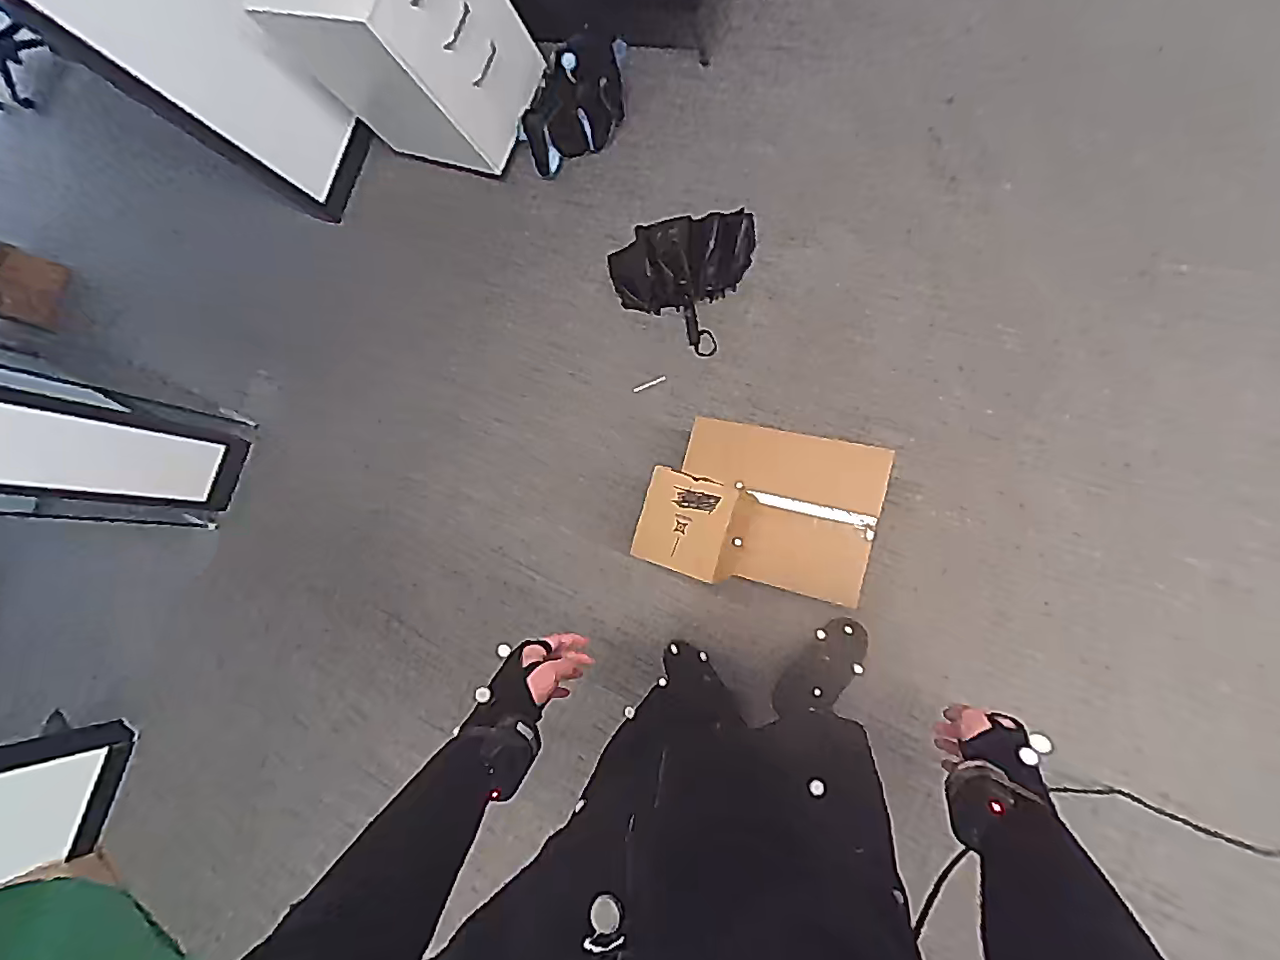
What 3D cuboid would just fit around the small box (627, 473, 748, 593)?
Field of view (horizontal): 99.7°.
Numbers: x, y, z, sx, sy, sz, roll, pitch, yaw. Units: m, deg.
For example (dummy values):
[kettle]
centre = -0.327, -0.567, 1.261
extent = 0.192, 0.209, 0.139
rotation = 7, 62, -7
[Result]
[small box]
centre = 0.100, 0.100, 1.035
extent = 0.168, 0.176, 0.179
rotation = 17, 90, 22
